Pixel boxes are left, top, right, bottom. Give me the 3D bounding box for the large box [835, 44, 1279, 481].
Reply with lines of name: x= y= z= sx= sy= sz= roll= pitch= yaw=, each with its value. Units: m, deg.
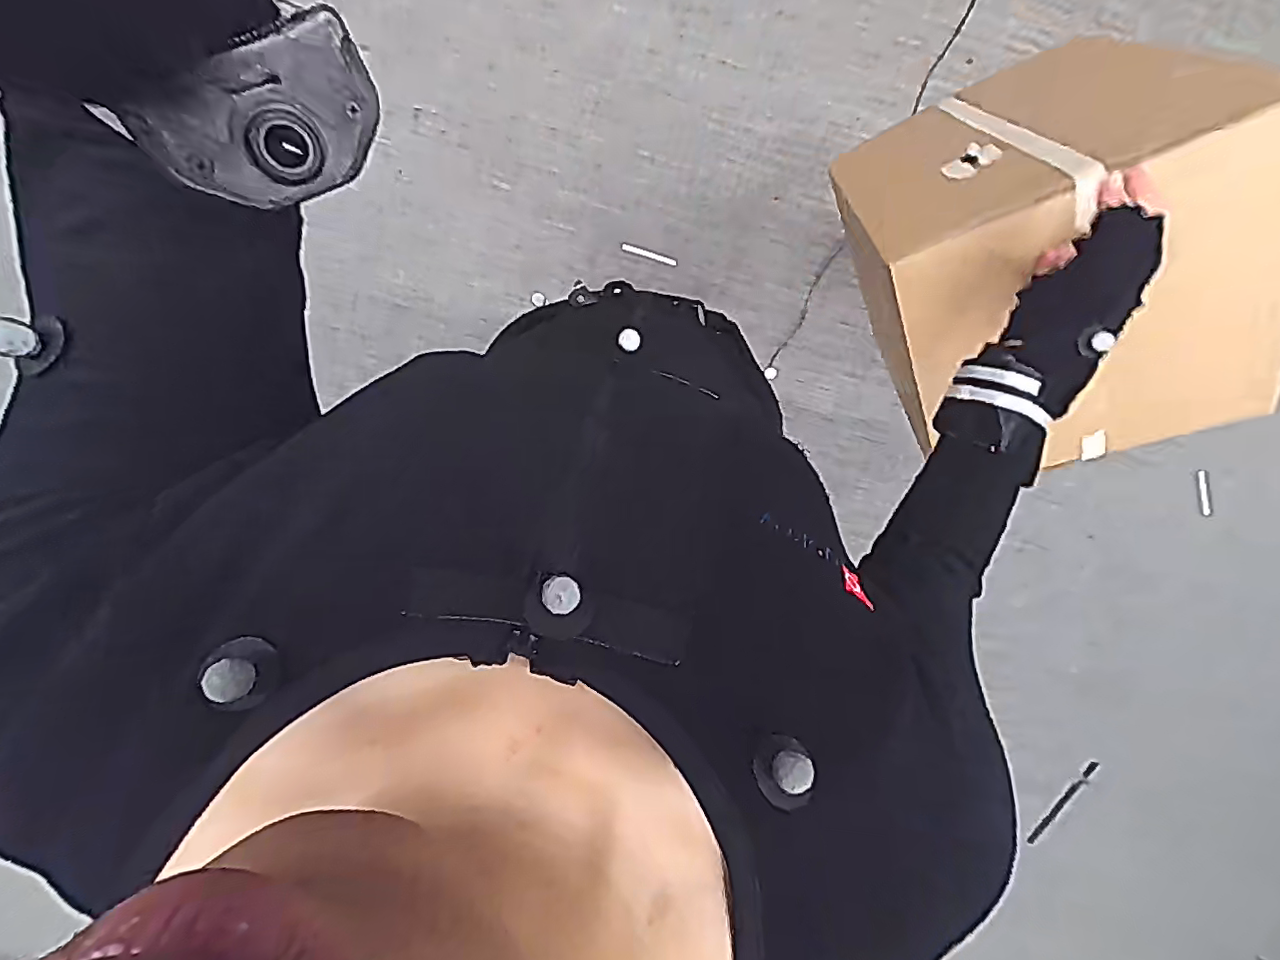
large box: x=0.464 y=-0.268 z=0.674 sx=0.320 sy=0.408 sz=0.320 roll=-16 pitch=129 yaw=23
